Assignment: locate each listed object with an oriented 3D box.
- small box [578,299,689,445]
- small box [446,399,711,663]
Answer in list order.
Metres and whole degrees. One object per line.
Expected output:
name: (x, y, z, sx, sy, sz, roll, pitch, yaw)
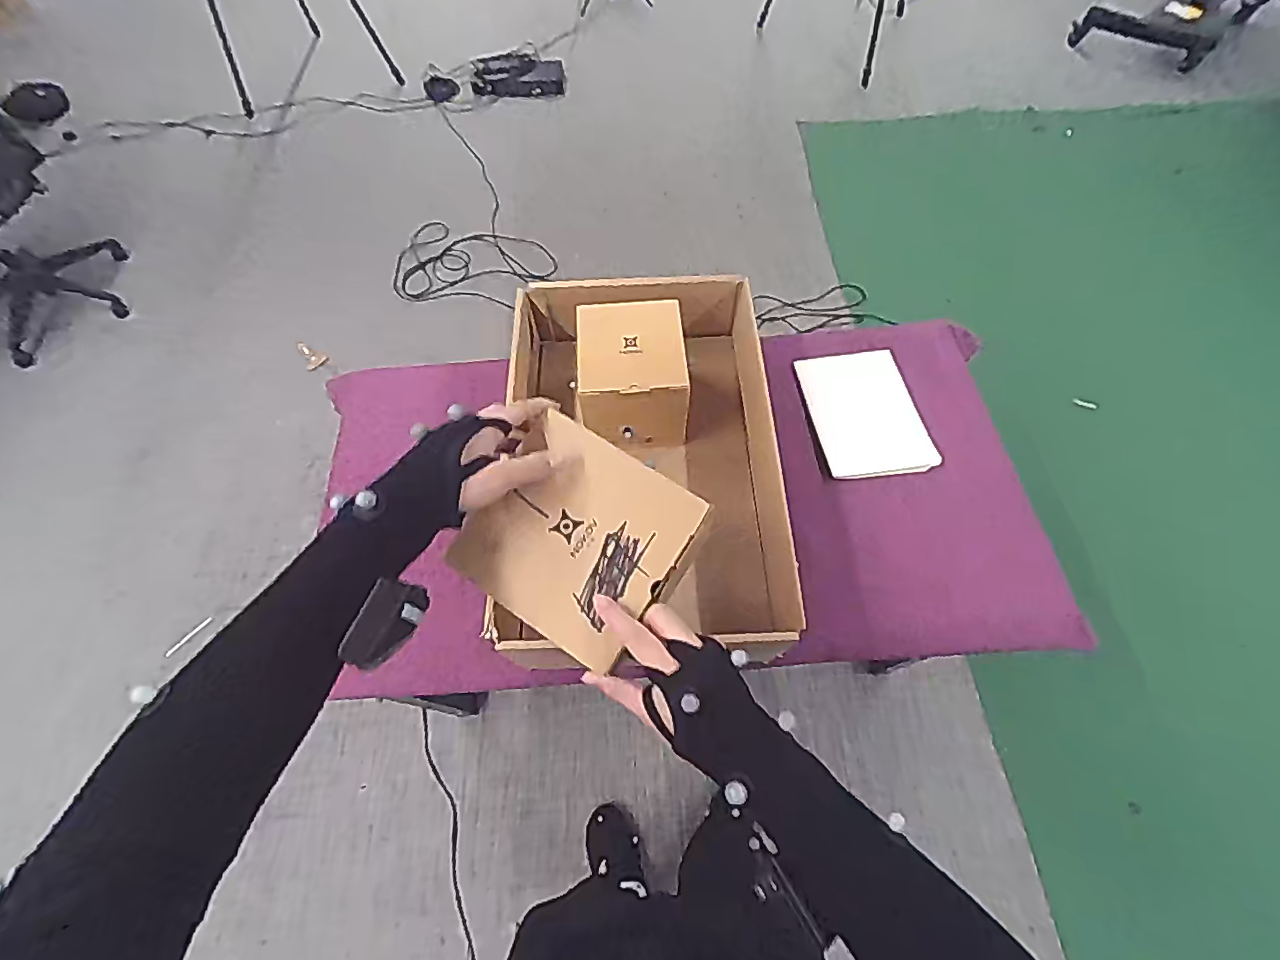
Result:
small box: (-0.014, -0.174, 0.900, 0.168, 0.176, 0.179, -4, 64, -1)
small box: (-0.045, 0.053, 0.537, 0.179, 0.176, 0.168, 33, 82, 13)
